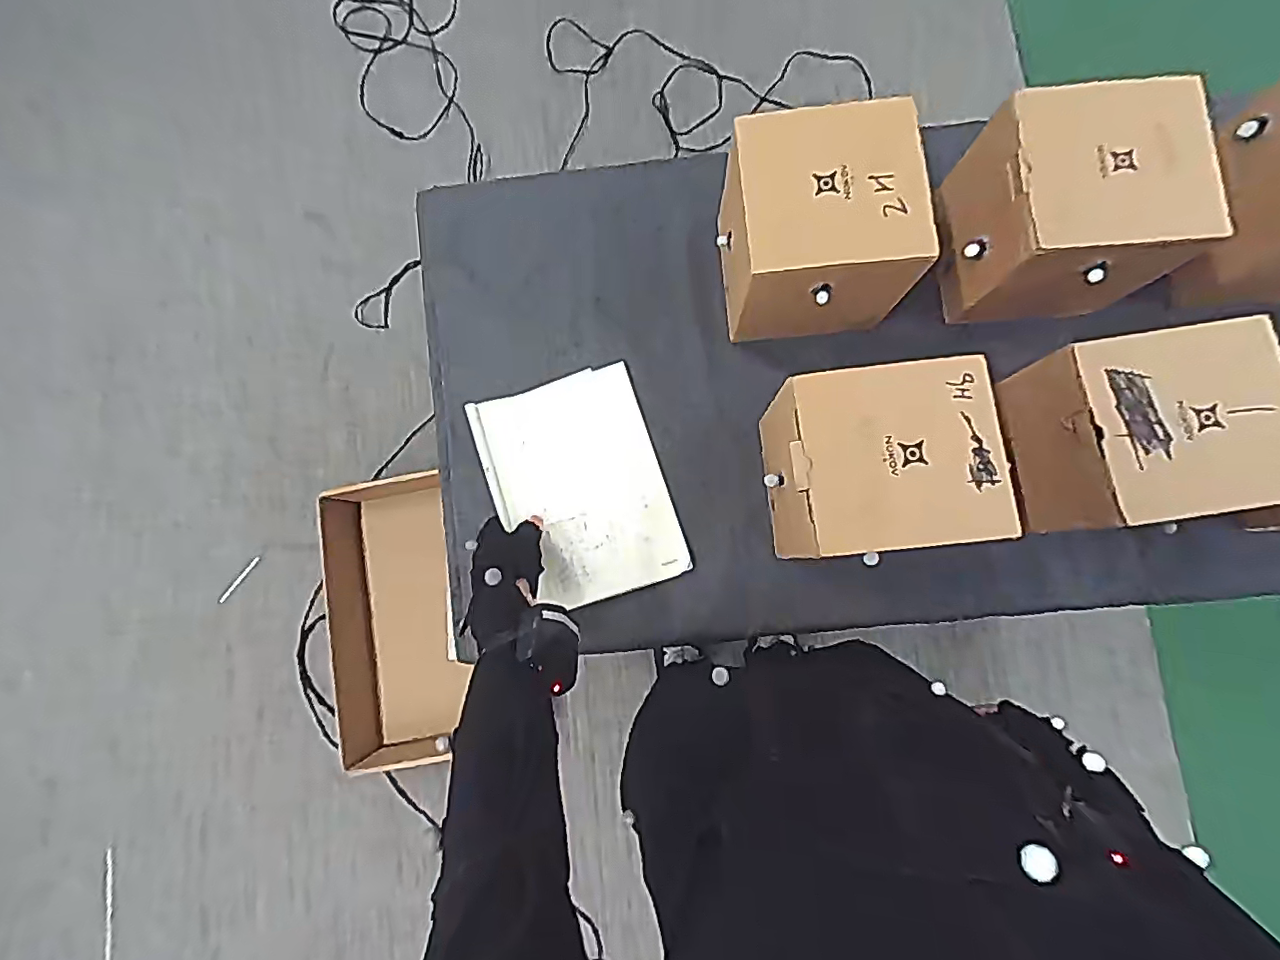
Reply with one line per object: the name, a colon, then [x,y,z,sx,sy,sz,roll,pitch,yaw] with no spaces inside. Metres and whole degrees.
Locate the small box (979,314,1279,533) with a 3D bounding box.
small box: [0.476,-0.042,0.541,0.179,0.176,0.168,-8,81,1]
